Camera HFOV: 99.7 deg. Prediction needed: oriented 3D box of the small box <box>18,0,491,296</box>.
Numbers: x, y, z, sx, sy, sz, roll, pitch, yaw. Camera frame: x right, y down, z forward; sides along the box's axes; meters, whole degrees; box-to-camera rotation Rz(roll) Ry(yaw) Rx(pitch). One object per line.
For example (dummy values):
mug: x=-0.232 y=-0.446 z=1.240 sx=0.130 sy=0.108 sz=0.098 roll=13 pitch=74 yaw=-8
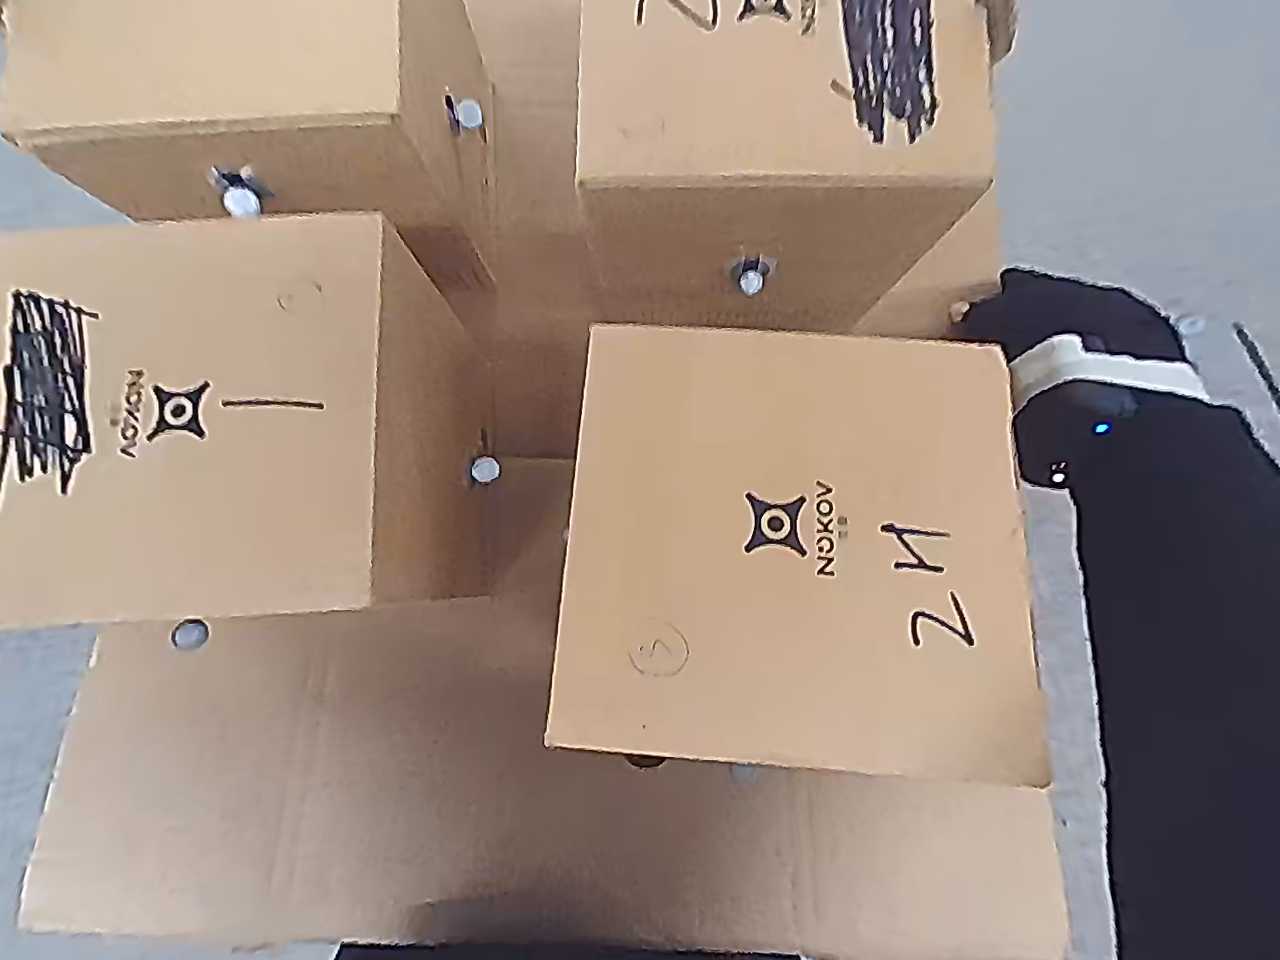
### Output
small box: x=-0.195 y=-0.226 z=0.328 sx=0.179 sy=0.176 sz=0.168 roll=-3 pitch=84 yaw=0
